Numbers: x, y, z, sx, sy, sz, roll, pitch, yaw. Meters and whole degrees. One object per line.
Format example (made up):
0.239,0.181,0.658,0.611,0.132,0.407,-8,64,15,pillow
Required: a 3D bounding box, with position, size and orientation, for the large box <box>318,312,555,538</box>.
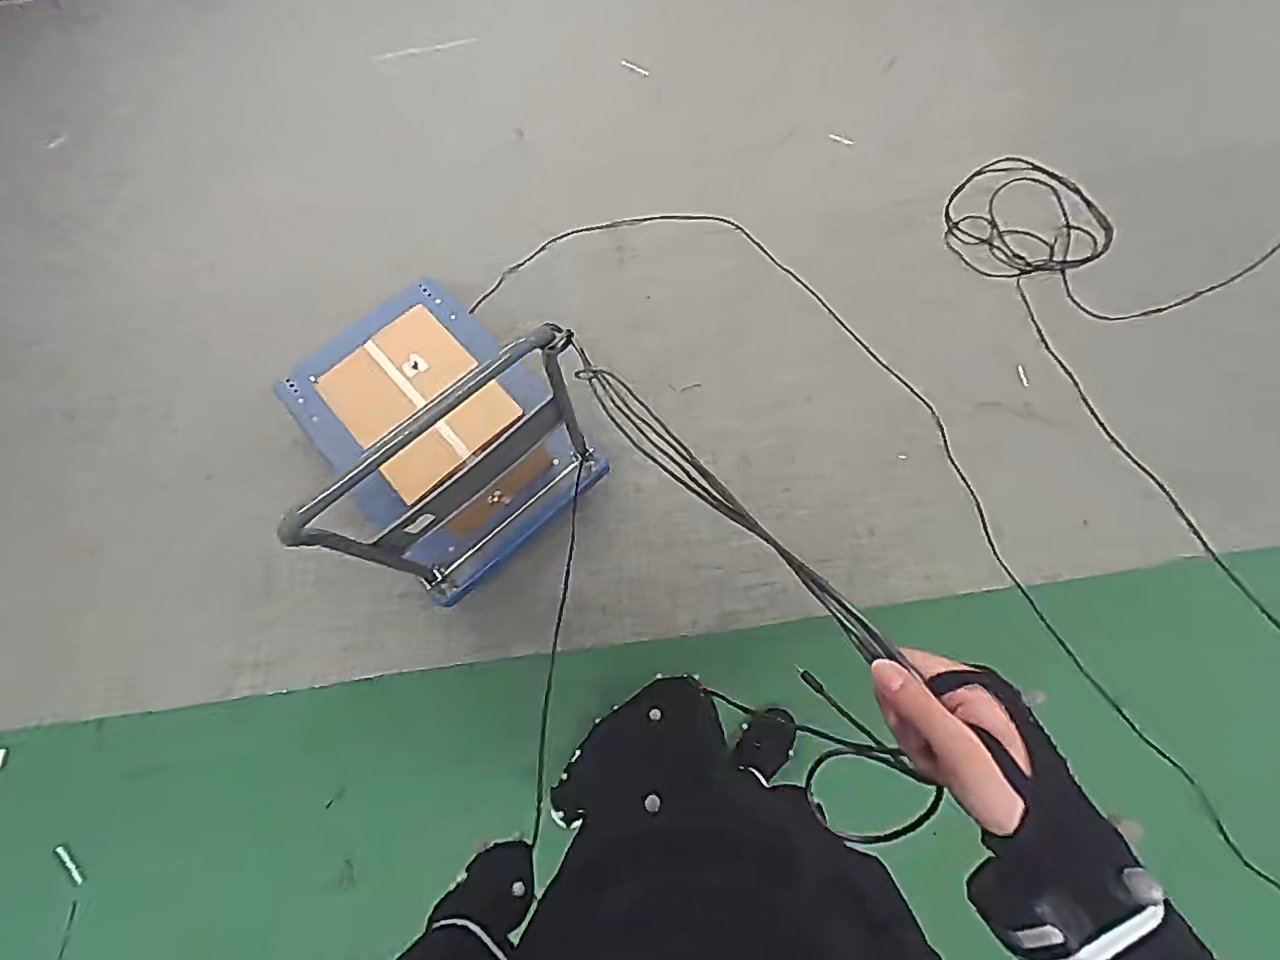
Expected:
-0.480,-0.122,1.343,0.320,0.320,0.408,-42,72,-11,large box
